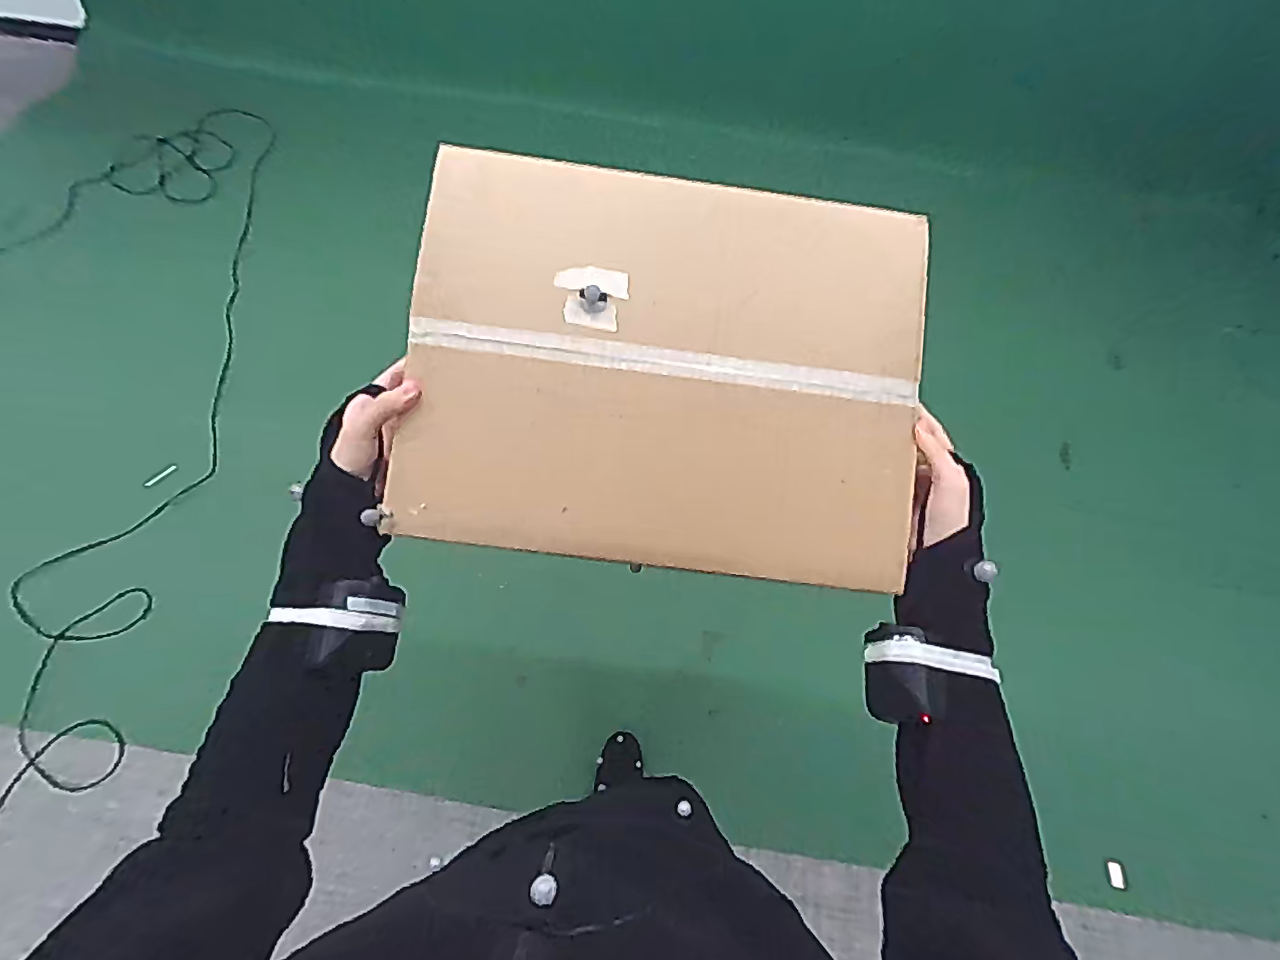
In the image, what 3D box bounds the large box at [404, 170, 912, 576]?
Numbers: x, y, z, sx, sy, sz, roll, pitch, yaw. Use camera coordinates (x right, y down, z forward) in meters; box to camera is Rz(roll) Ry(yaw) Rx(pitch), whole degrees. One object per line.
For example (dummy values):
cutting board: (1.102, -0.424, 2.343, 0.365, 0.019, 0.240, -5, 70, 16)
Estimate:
large box: (0.020, -0.081, 0.595, 0.408, 0.320, 0.320, 6, 84, -1)
